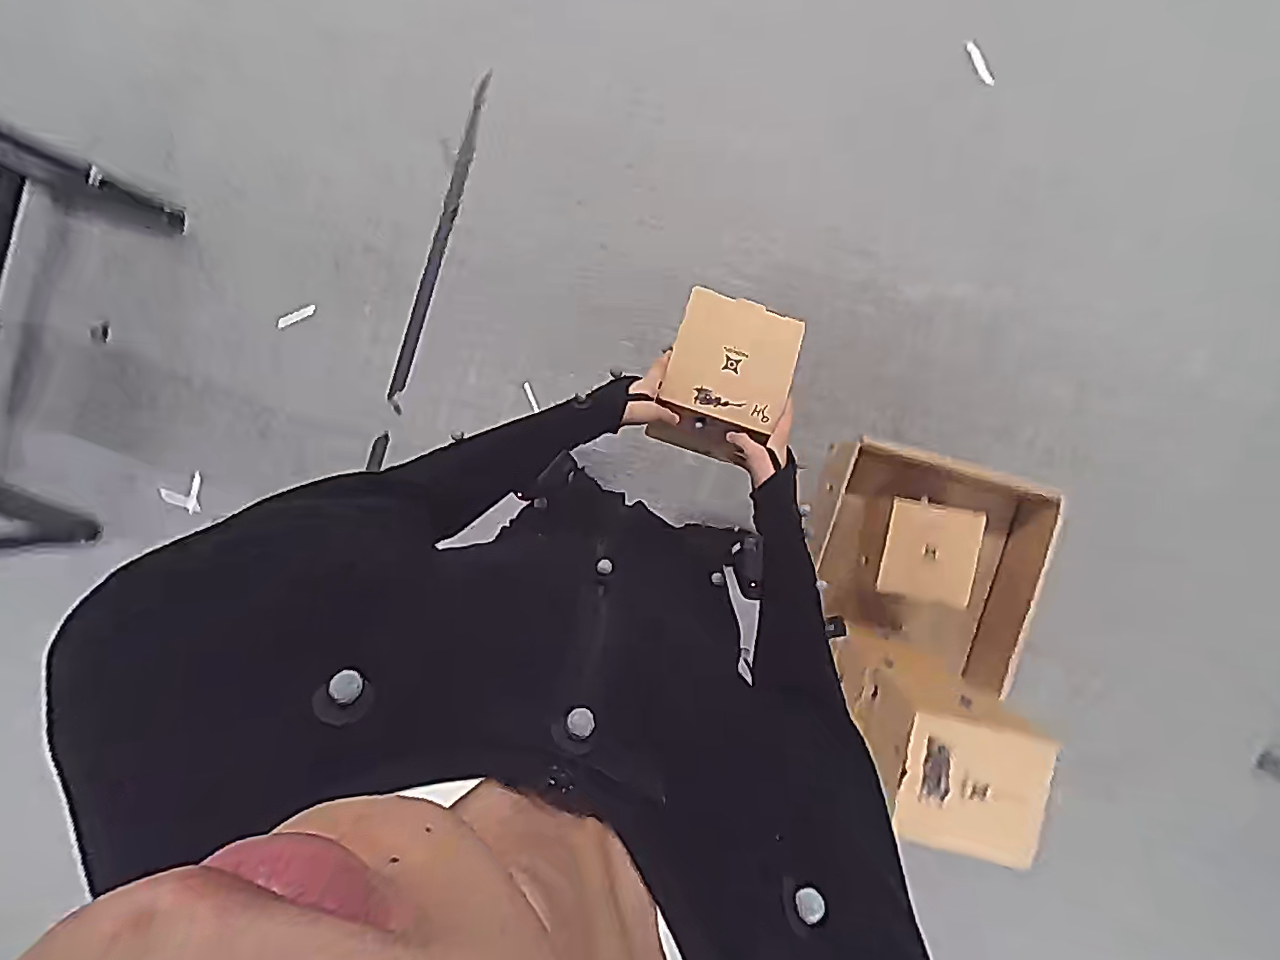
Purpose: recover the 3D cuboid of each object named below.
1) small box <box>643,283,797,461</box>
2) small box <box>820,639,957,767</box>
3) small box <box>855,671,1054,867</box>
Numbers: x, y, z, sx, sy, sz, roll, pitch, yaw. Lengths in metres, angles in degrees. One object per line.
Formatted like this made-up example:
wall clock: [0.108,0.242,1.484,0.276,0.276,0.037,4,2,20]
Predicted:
small box: [0.107,-0.148,0.794,0.168,0.176,0.179,17,76,-1]
small box: [0.428,0.390,0.925,0.179,0.176,0.168,15,92,7]
small box: [0.422,0.387,0.760,0.179,0.176,0.168,12,92,6]
